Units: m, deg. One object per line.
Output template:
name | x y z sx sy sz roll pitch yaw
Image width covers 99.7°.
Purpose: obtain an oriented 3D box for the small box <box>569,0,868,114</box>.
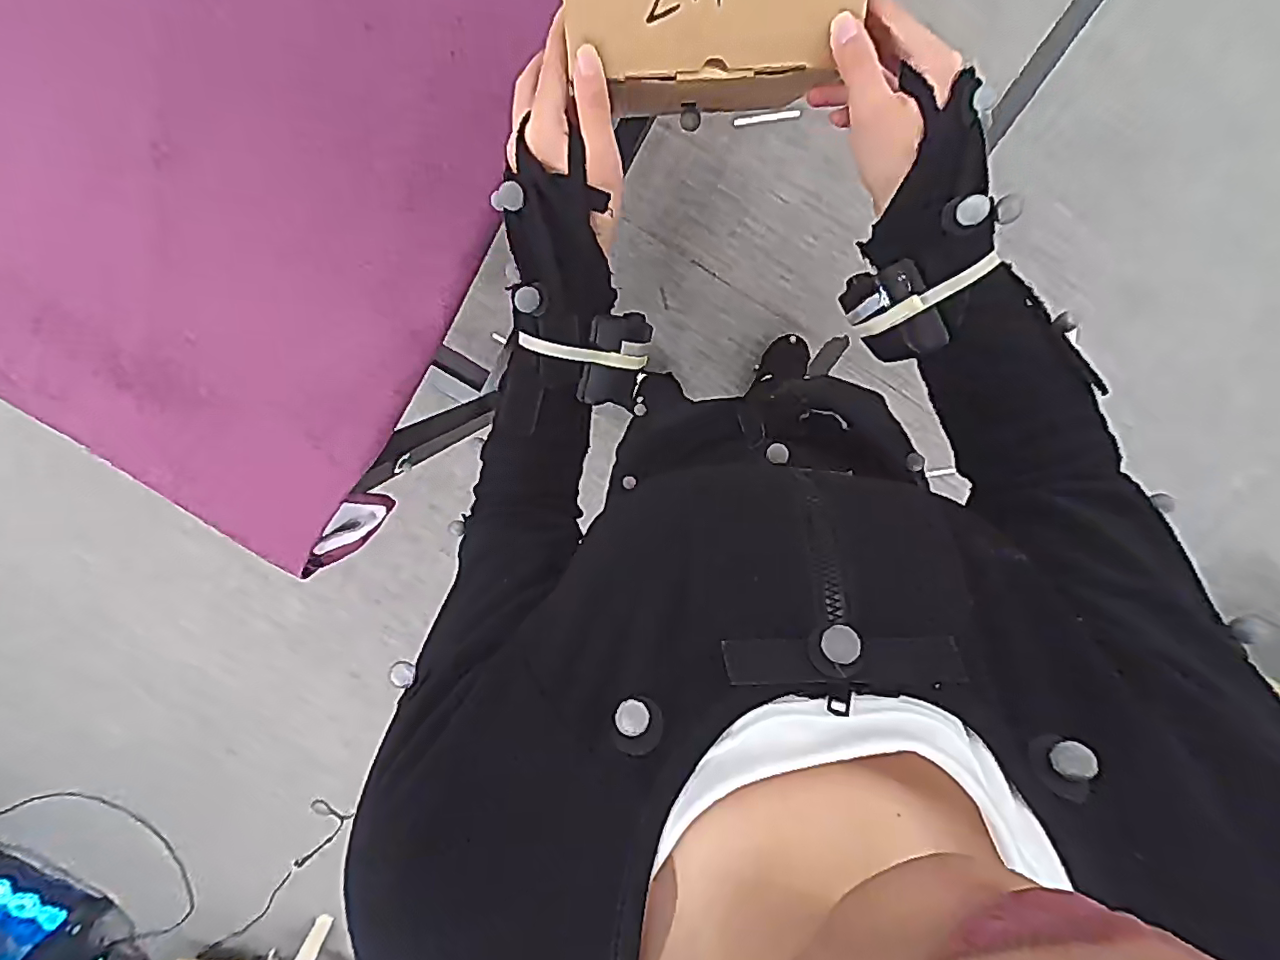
small box | 0.037 -0.348 0.338 0.168 0.176 0.179 -3 118 -1
